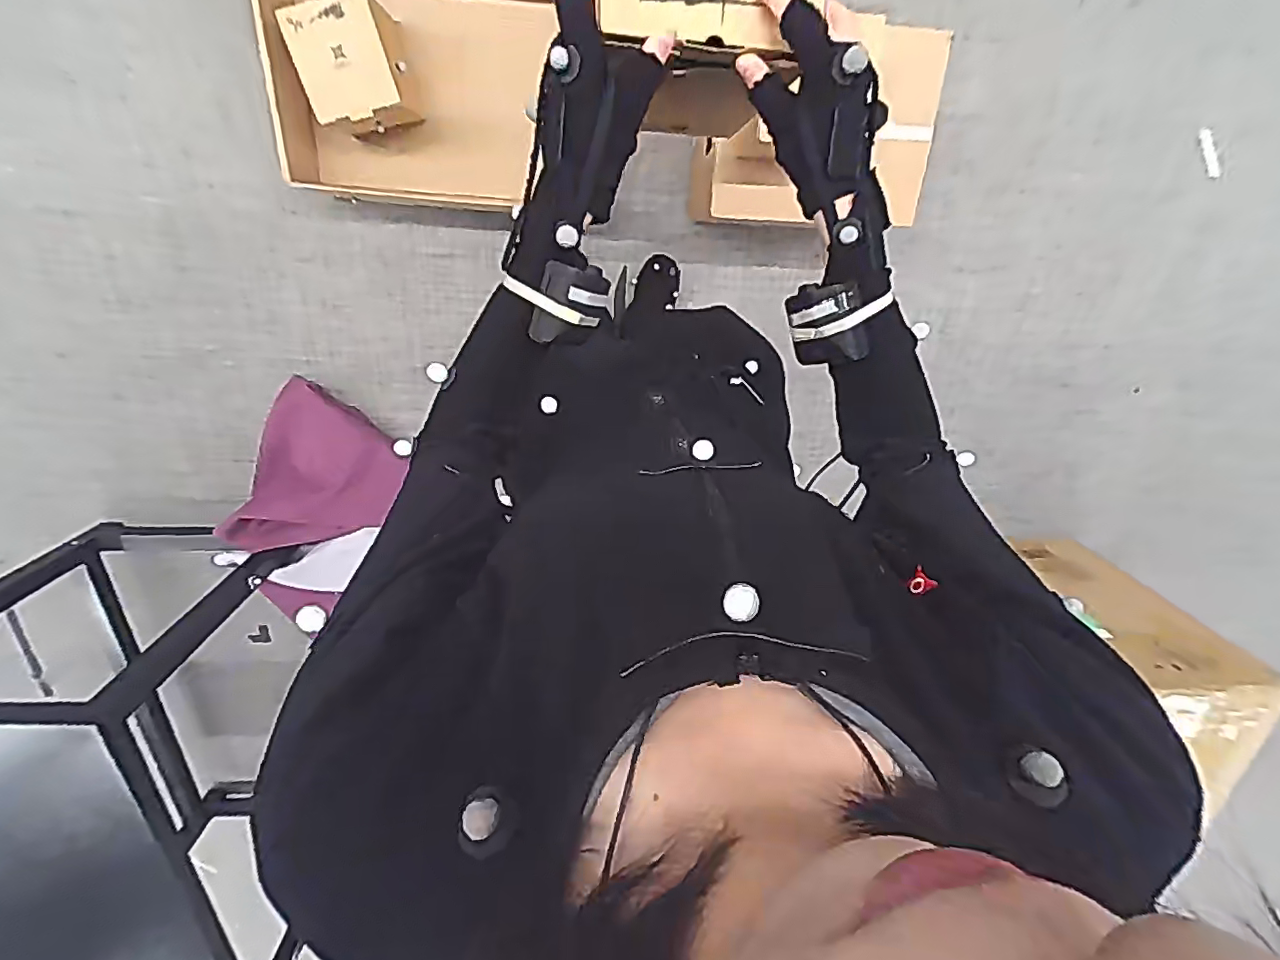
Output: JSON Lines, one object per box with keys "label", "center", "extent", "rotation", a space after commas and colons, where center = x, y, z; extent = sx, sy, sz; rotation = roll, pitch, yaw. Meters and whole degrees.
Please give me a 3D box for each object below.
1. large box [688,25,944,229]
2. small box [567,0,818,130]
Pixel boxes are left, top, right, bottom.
{"label": "large box", "center": [0.324, -0.701, 1.129], "extent": [0.408, 0.320, 0.320], "rotation": [0, 114, -5]}
{"label": "small box", "center": [0.032, -0.411, 0.437], "extent": [0.168, 0.176, 0.179], "rotation": [-3, 105, -13]}
